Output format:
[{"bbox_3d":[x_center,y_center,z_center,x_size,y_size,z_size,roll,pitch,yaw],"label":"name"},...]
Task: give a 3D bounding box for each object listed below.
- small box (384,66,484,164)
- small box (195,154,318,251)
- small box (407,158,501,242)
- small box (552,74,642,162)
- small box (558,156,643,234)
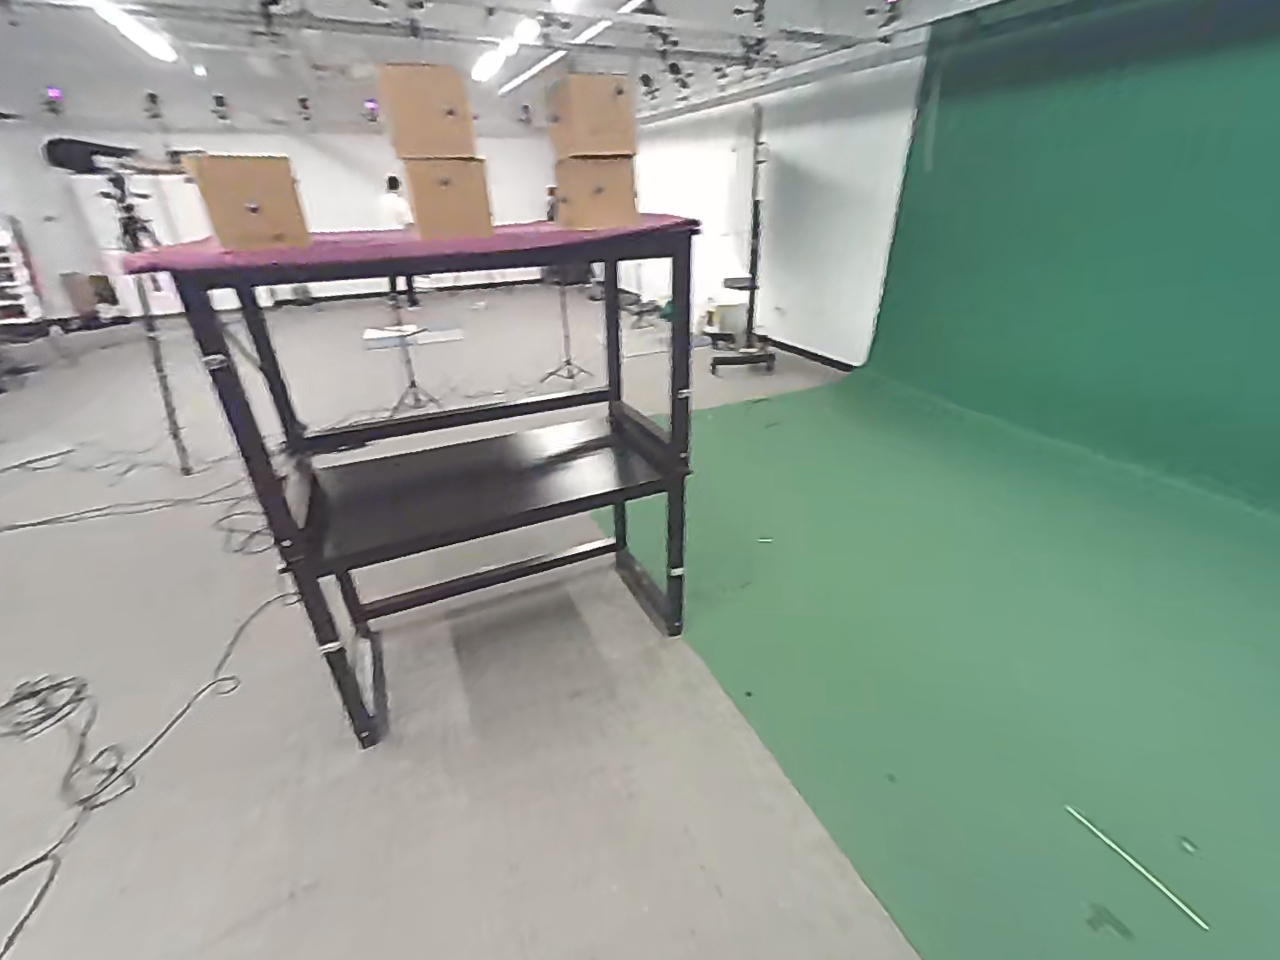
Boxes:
[{"bbox_3d":[-0.451,-0.809,1.215,0.179,0.176,0.168,-8,28,-11],"label":"small box"},{"bbox_3d":[-0.787,-0.570,1.116,0.168,0.176,0.179,-19,33,-33],"label":"small box"},{"bbox_3d":[-0.444,-0.667,1.293,0.179,0.176,0.168,-12,30,-21],"label":"small box"},{"bbox_3d":[-0.106,-0.894,1.355,0.179,0.176,0.168,-14,28,-20],"label":"small box"},{"bbox_3d":[-0.104,-0.753,1.438,0.179,0.176,0.168,-14,29,-20],"label":"small box"}]
